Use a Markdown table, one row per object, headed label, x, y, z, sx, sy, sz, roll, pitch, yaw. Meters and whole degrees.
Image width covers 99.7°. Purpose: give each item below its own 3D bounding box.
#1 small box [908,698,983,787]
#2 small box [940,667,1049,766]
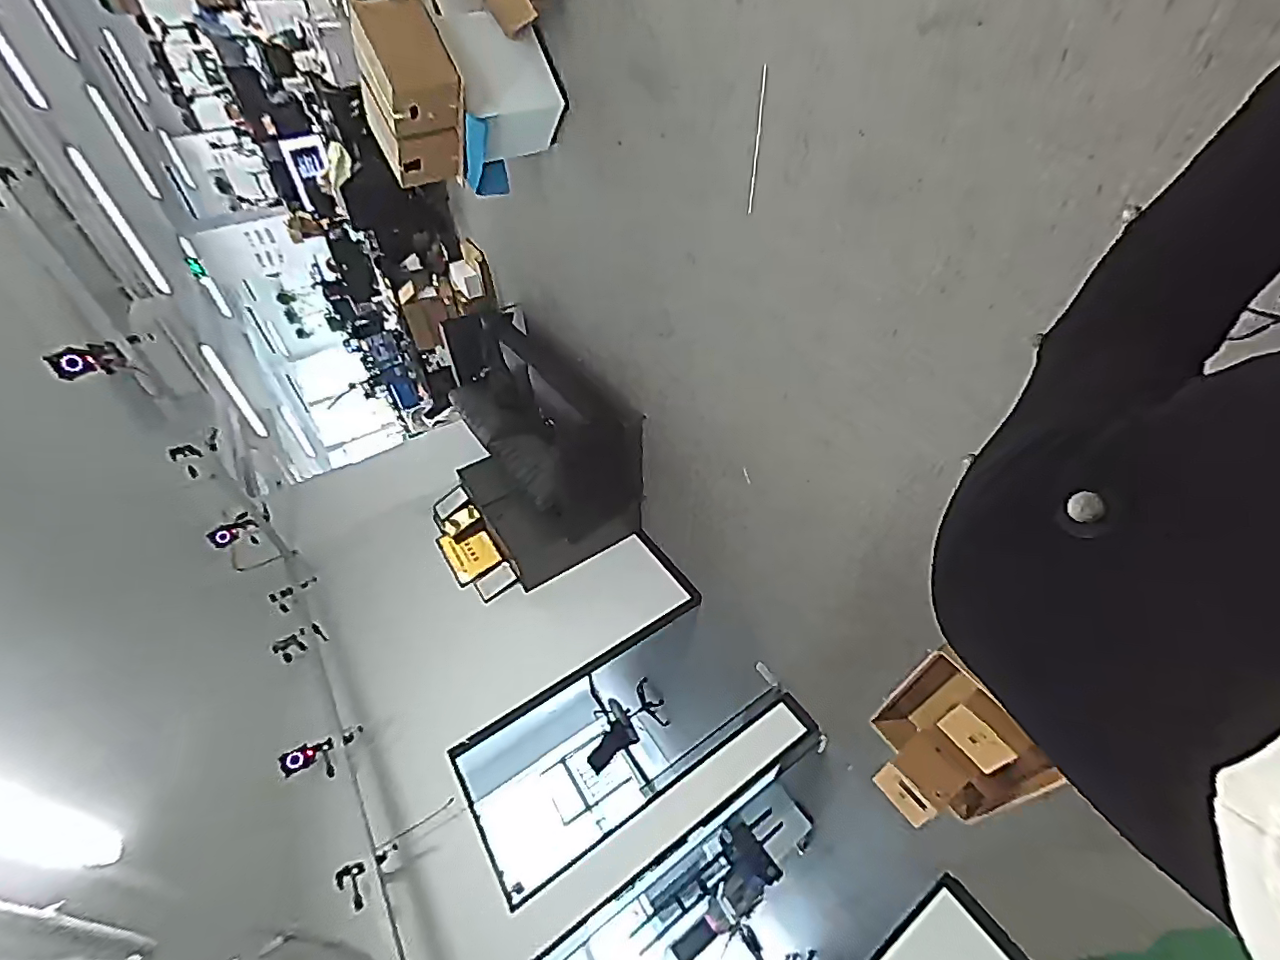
| label | x | y | z | sx | sy | sz | roll | pitch | yaw |
| --- | --- | --- | --- | --- | --- | --- | --- | --- | --- |
| small box | 1.004 | 0.834 | 1.723 | 0.168 | 0.176 | 0.179 | 48 | 151 | 35 |
| small box | 1.002 | 0.667 | 1.530 | 0.168 | 0.176 | 0.179 | 48 | 154 | 33 |
